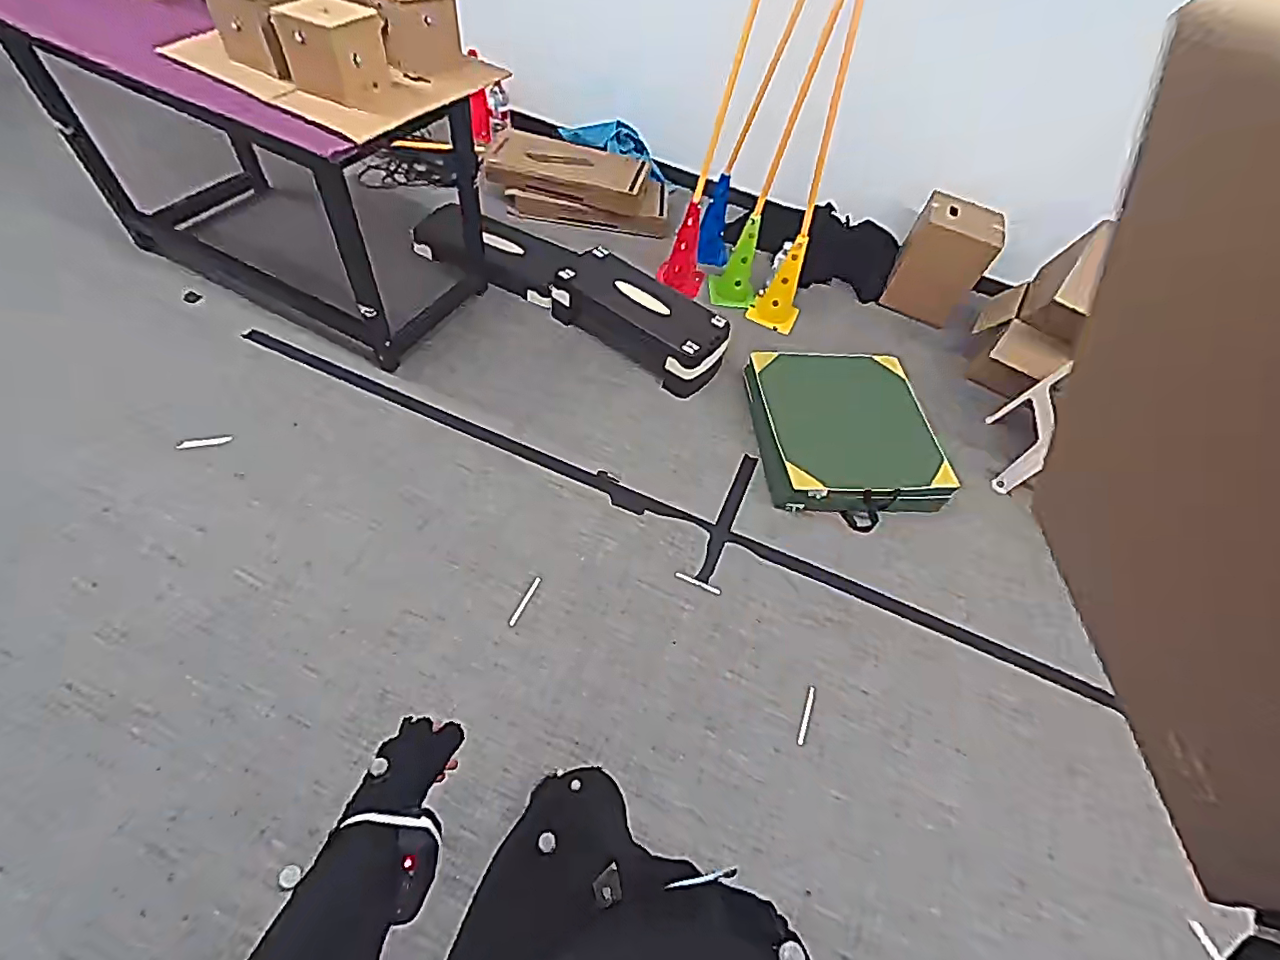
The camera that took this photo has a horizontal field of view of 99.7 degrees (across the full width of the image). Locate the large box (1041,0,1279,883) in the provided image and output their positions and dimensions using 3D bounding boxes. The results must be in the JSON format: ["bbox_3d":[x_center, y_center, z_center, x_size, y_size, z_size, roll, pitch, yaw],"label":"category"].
[{"bbox_3d":[0.448,-0.006,0.255,0.320,0.408,0.320,-7,49,20],"label":"large box"}]
